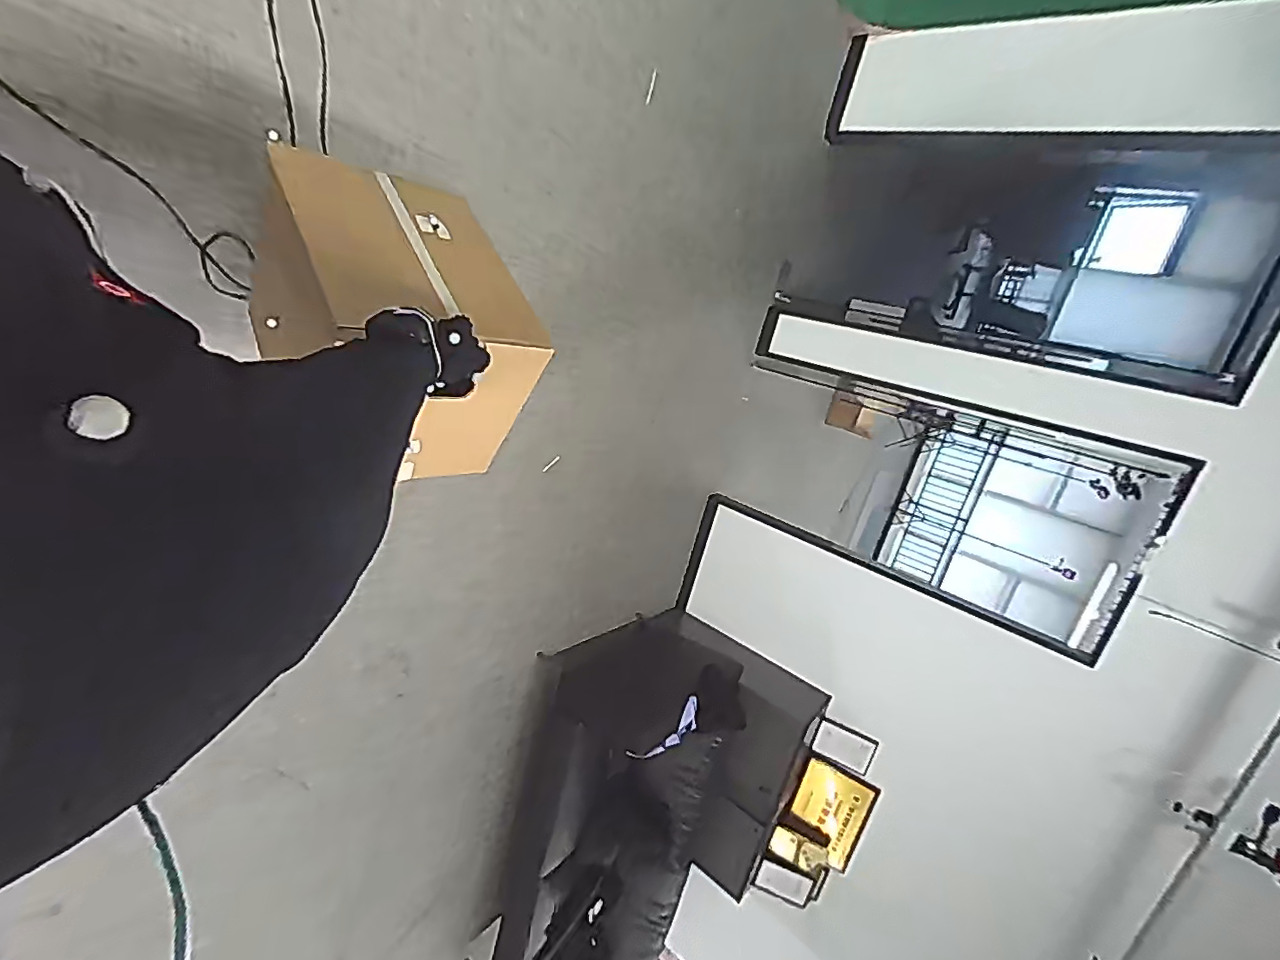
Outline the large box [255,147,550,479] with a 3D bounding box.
[{"bbox_3d":[-0.418,-0.258,0.912,0.320,0.408,0.320,-6,146,-45],"label":"large box"}]
